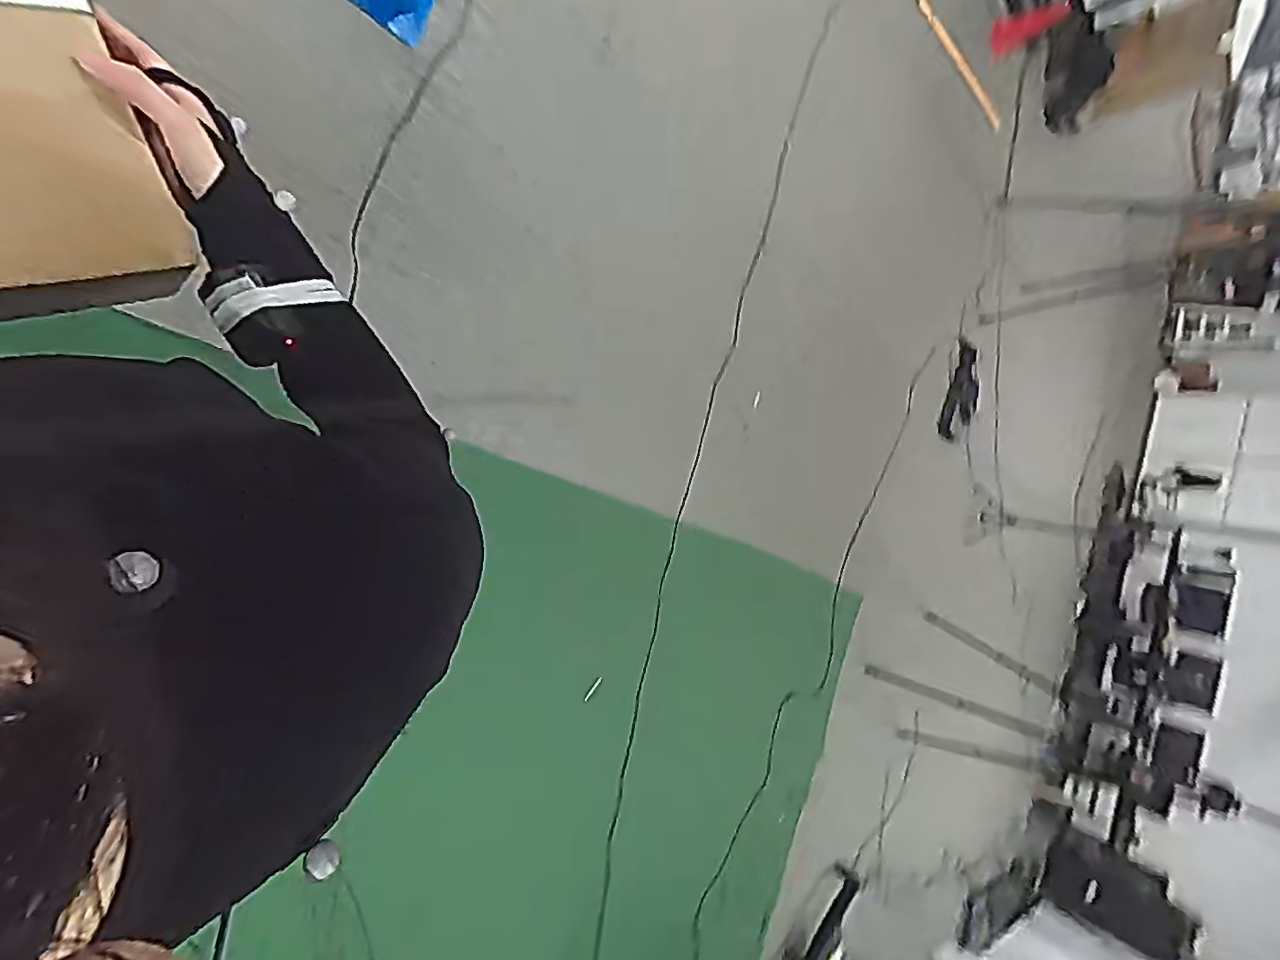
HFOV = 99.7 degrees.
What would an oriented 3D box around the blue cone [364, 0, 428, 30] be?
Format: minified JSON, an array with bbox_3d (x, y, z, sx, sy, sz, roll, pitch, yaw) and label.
[{"bbox_3d":[-0.501,-1.181,1.150,0.193,0.380,0.192,18,85,-38],"label":"blue cone"}]
